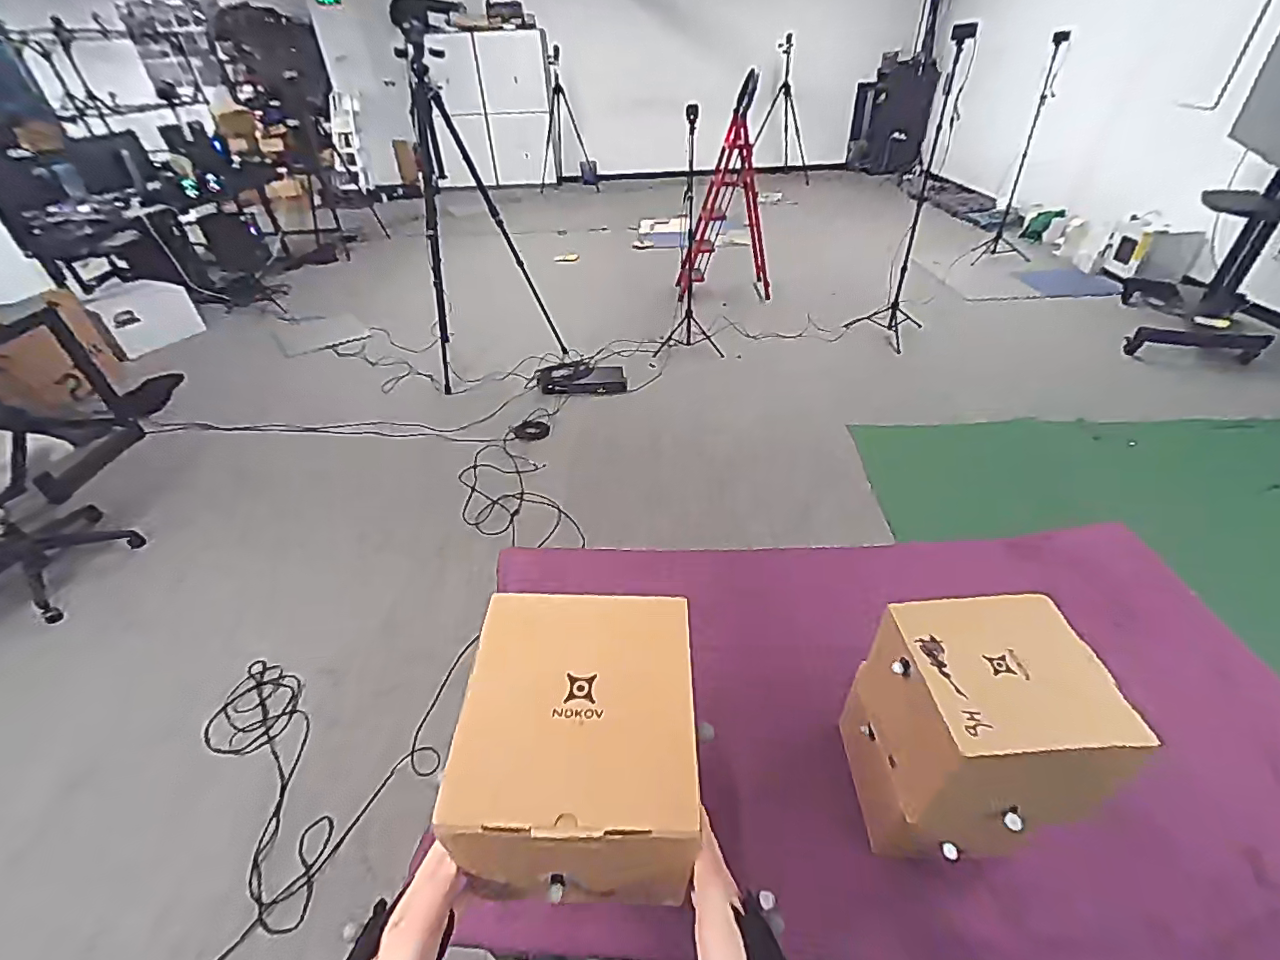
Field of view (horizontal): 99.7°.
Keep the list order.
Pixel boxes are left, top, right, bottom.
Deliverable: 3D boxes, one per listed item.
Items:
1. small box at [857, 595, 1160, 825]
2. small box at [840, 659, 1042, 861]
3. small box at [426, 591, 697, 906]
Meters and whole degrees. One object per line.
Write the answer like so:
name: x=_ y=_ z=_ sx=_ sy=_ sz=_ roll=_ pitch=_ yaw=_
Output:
small box: x=0.355 y=0.239 z=0.566 sx=0.179 sy=0.176 sz=0.168 roll=-3 pitch=38 yaw=0
small box: x=0.369 y=0.351 z=0.688 sx=0.168 sy=0.176 sz=0.179 roll=-1 pitch=38 yaw=3
small box: x=-0.048 y=0.211 z=0.433 sx=0.168 sy=0.176 sz=0.179 roll=1 pitch=41 yaw=-1
